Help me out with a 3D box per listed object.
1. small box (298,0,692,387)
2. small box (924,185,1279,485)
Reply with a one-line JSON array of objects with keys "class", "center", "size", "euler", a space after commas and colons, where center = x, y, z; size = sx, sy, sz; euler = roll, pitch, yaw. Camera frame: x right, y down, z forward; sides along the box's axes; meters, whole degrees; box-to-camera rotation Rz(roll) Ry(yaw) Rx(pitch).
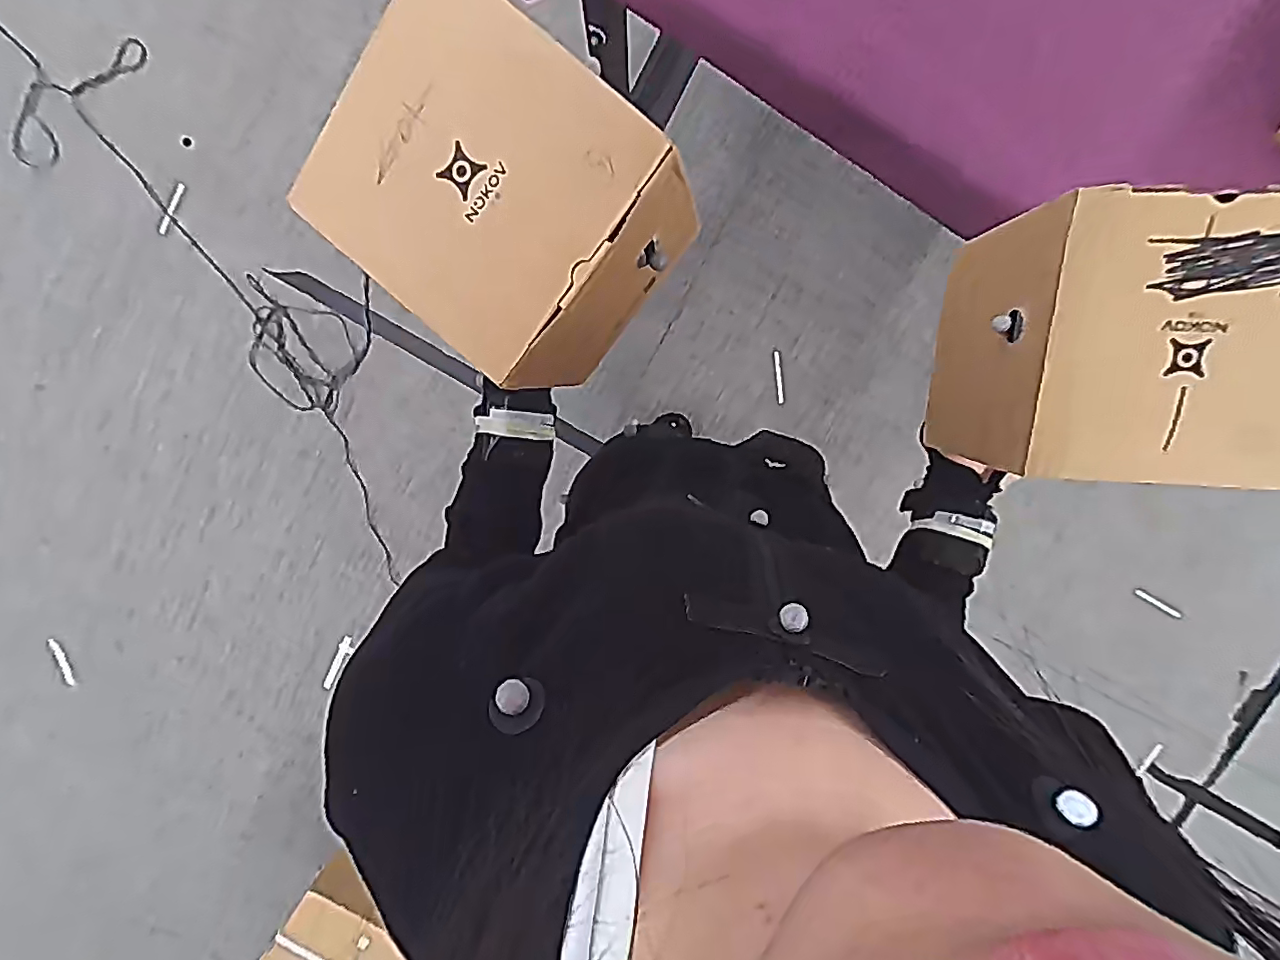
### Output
[{"class": "small box", "center": [-0.079, -0.186, 0.384], "size": [0.179, 0.176, 0.168], "euler": [40, 104, 2]}, {"class": "small box", "center": [0.341, -0.102, 0.412], "size": [0.168, 0.176, 0.179], "euler": [3, 102, 5]}]
